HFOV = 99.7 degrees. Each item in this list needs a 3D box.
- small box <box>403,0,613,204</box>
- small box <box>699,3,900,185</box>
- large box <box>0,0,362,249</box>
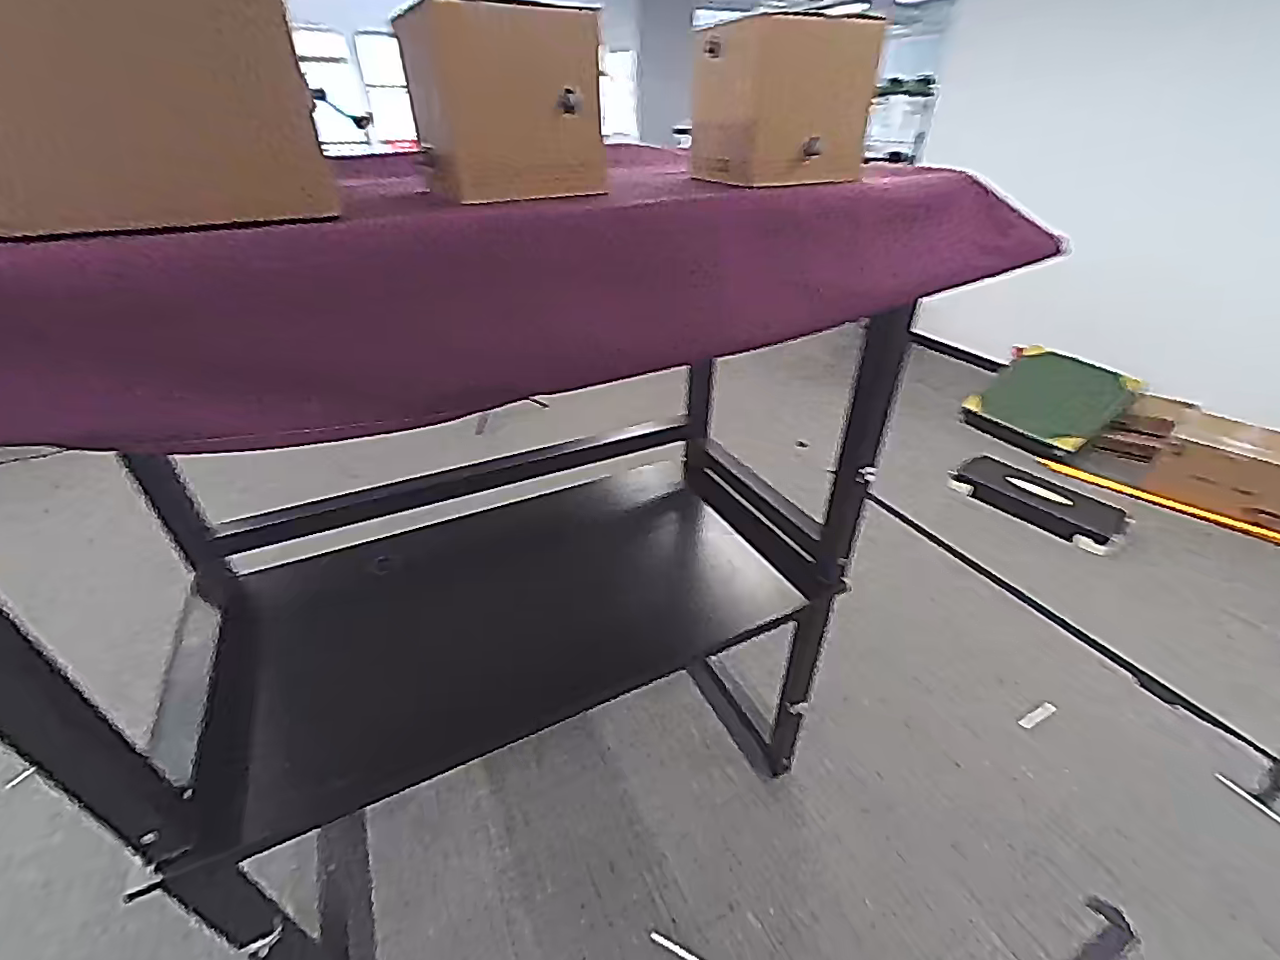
[{"bbox_3d":[-0.142,-0.416,0.605,0.179,0.176,0.168,-19,37,-25],"label":"small box"},{"bbox_3d":[0.189,-0.484,0.695,0.179,0.176,0.168,-13,35,-18],"label":"small box"},{"bbox_3d":[-0.492,-0.381,0.436,0.408,0.320,0.320,-16,36,-21],"label":"large box"}]
